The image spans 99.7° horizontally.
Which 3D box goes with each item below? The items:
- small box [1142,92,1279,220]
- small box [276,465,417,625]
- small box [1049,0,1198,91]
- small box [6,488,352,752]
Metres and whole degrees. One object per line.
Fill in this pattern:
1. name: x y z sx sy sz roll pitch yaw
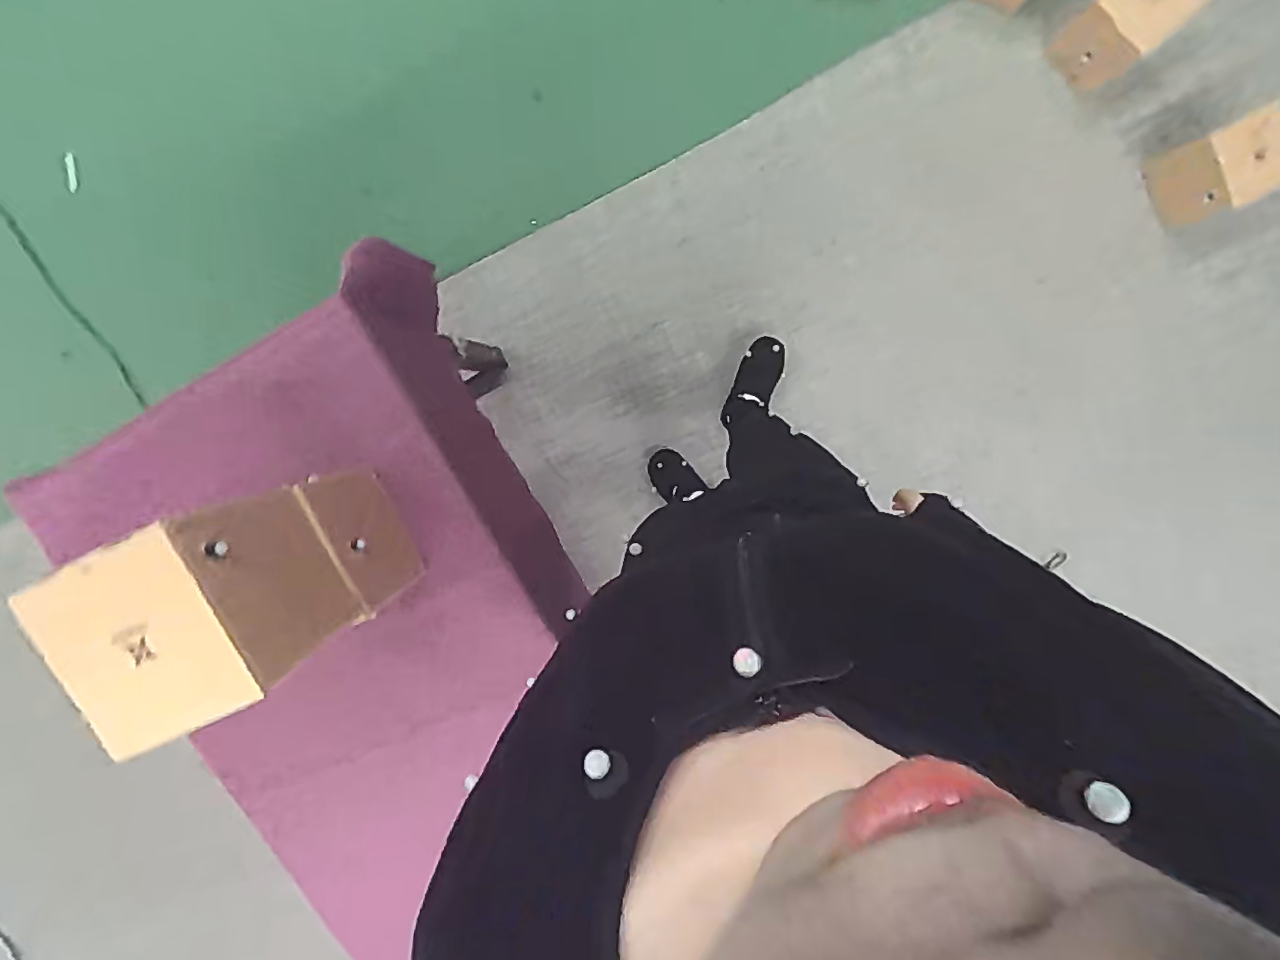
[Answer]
1. small box: 1.314 -0.718 1.229 0.168 0.176 0.179 -27 98 6
2. small box: -0.428 0.096 0.710 0.168 0.176 0.179 -22 98 5
3. small box: 1.054 -1.018 1.189 0.179 0.176 0.168 -43 95 9
4. small box: -0.439 0.127 0.551 0.168 0.176 0.179 -25 98 6
